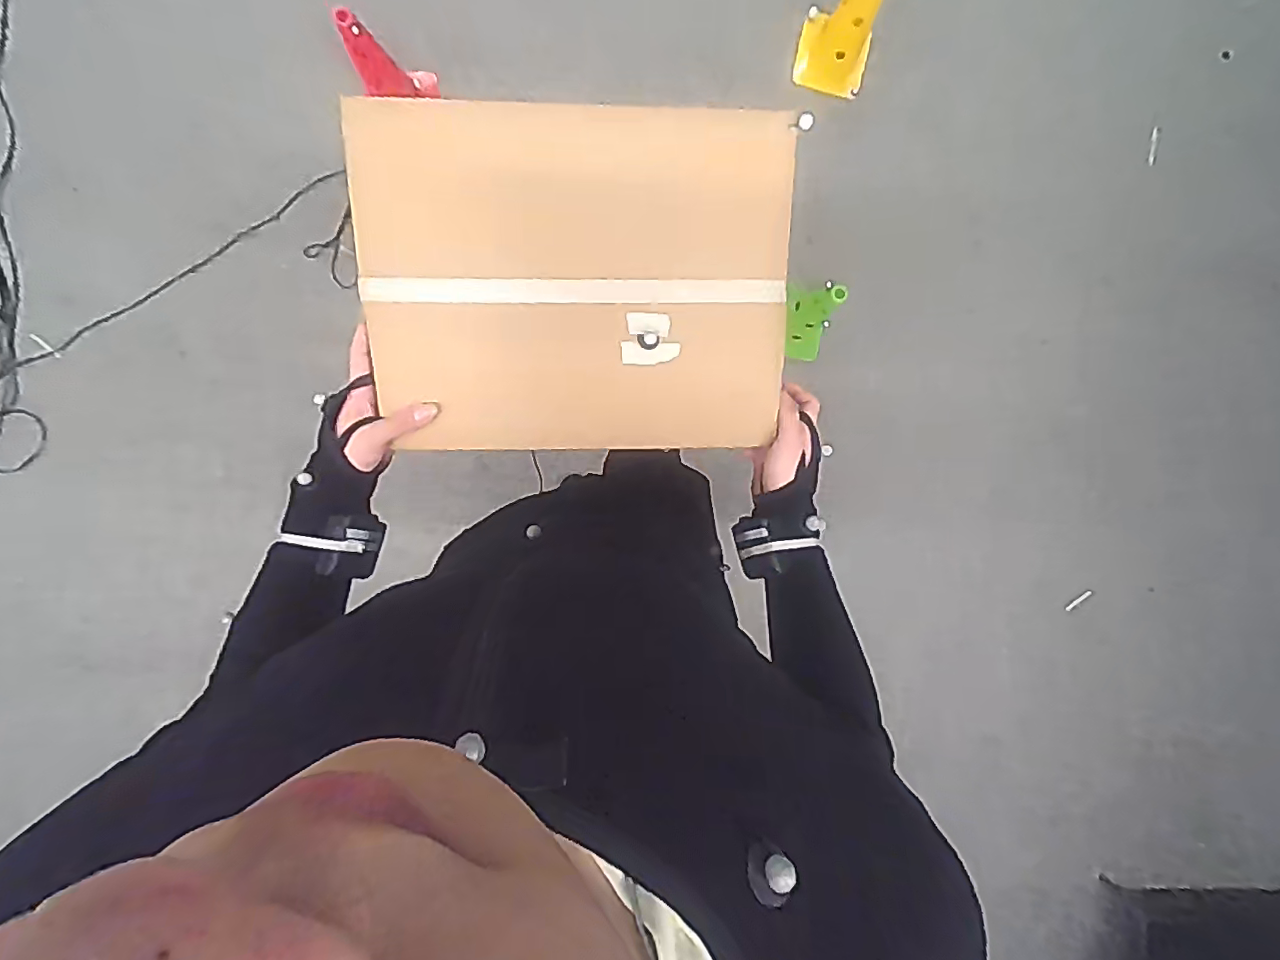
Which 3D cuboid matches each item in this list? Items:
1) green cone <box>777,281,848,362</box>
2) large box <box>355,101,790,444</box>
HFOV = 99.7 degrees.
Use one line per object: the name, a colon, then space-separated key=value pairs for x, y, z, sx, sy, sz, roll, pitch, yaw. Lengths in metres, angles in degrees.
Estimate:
green cone: x=0.457 y=-0.451 z=1.435 sx=0.200 sy=0.368 sz=0.202 roll=9 pitch=94 yaw=-5
large box: x=-0.068 y=-0.229 z=0.673 sx=0.408 sy=0.320 sz=0.320 roll=-1 pitch=106 yaw=-5
